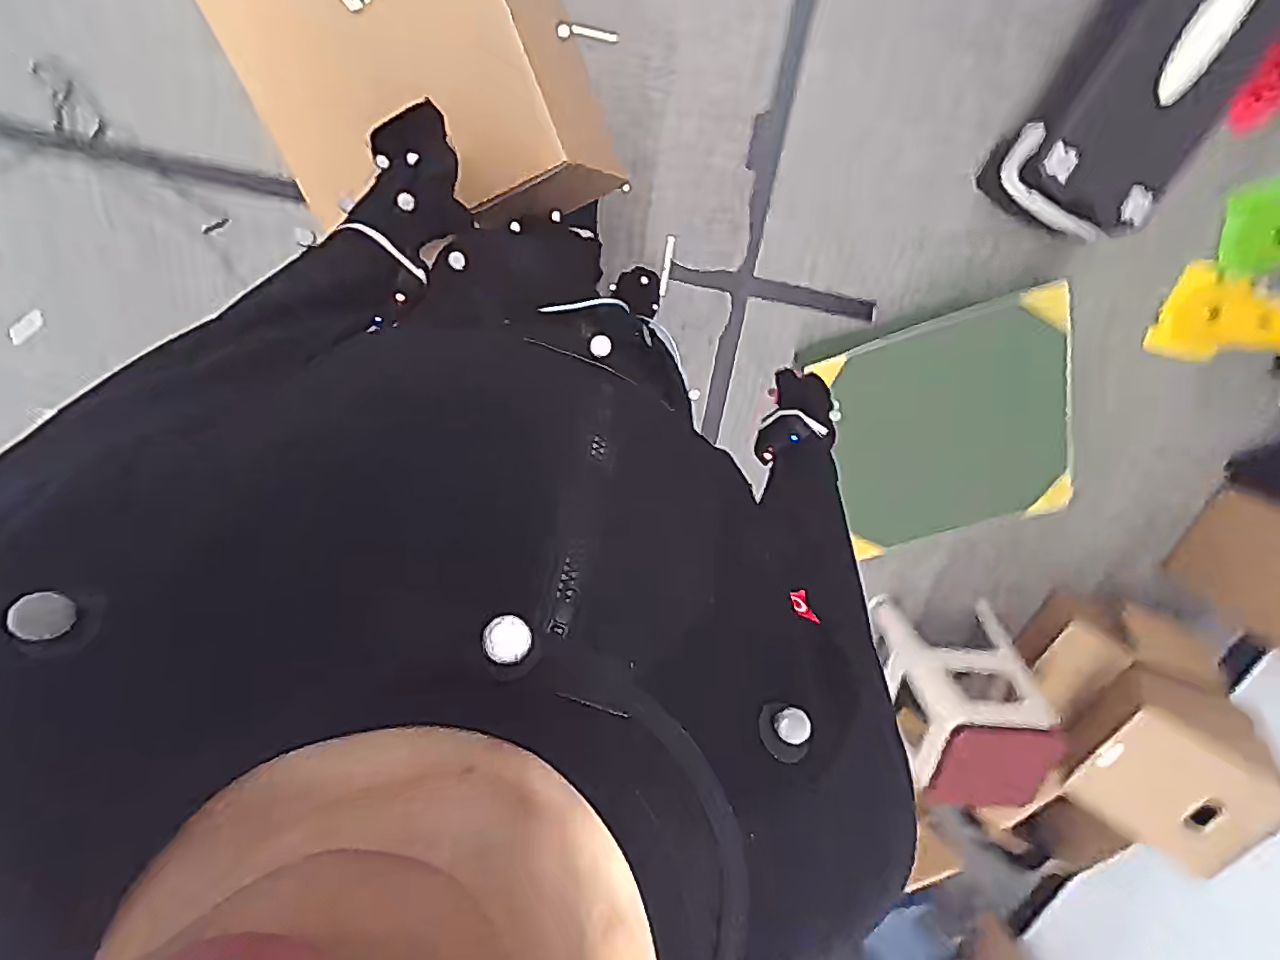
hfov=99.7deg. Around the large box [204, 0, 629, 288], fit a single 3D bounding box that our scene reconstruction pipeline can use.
[{"bbox_3d":[-0.245,-0.502,0.749,0.320,0.408,0.320,-17,113,17],"label":"large box"}]
